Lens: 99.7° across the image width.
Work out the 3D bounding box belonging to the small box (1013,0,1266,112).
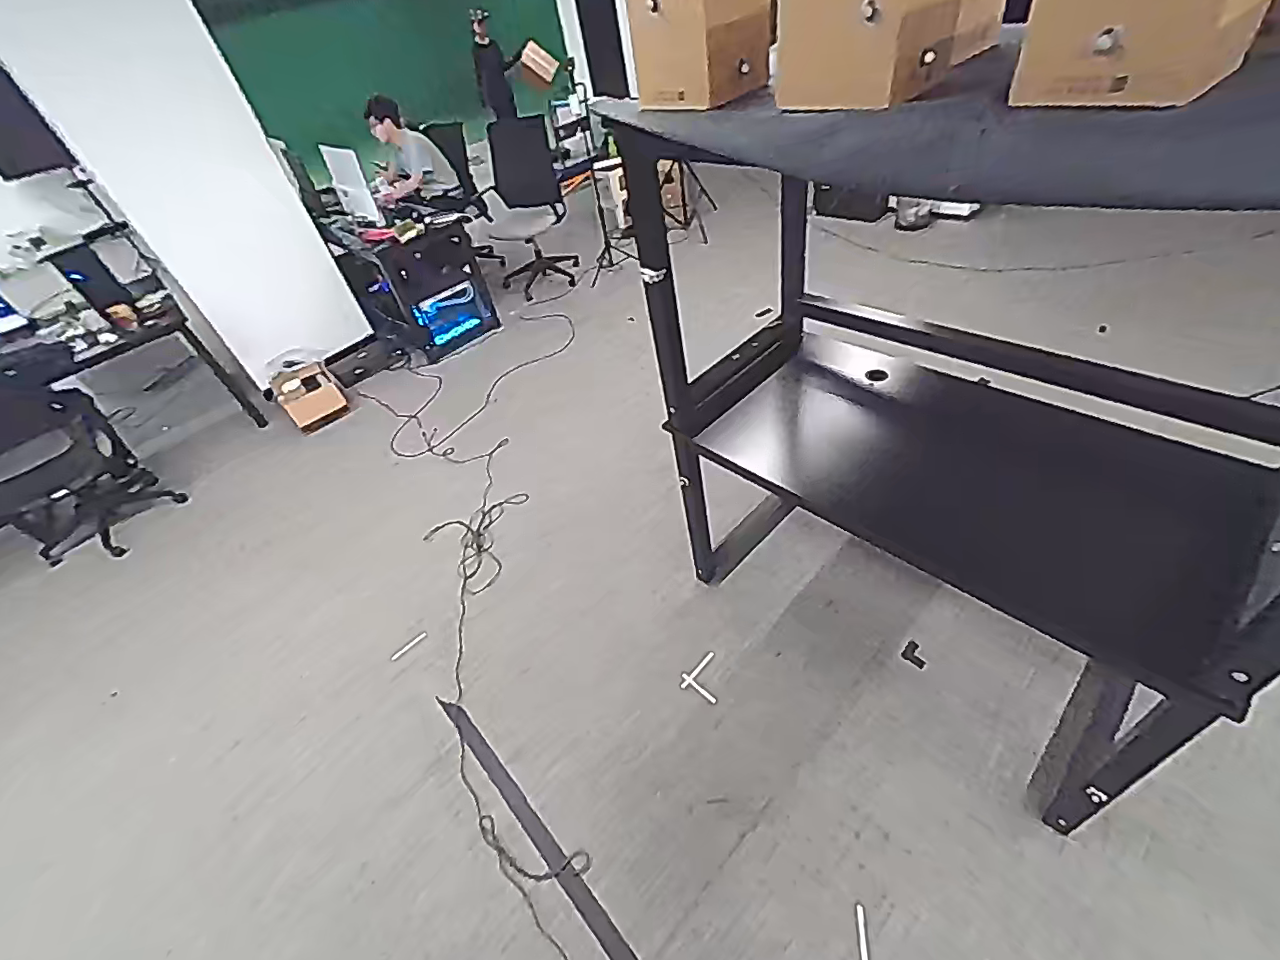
[{"bbox_3d":[0.525,-0.501,0.556,0.179,0.176,0.168,-35,47,-23],"label":"small box"}]

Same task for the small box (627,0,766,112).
[{"bbox_3d":[0.098,-0.746,0.916,0.168,0.176,0.179,29,57,35],"label":"small box"}]

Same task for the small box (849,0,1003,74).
[{"bbox_3d":[0.454,-0.761,0.850,0.168,0.176,0.179,-38,48,-23],"label":"small box"}]
